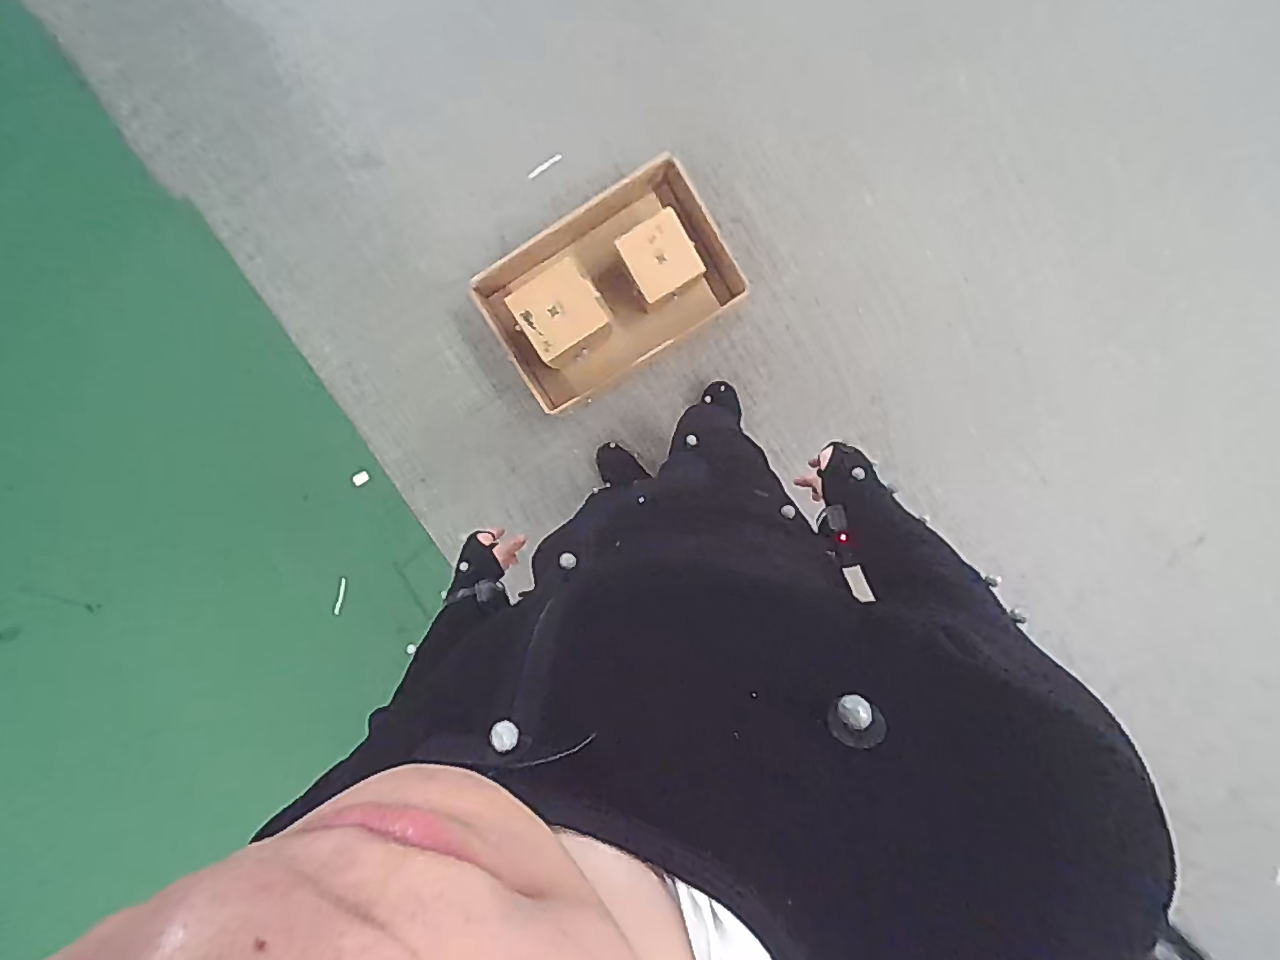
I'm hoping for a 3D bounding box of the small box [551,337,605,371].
[{"bbox_3d":[-0.202,-0.400,1.419,0.168,0.176,0.179,-32,96,2],"label":"small box"}]

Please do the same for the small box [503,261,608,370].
[{"bbox_3d":[-0.189,-0.373,1.257,0.179,0.176,0.168,-32,96,2],"label":"small box"}]

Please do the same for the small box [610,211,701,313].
[{"bbox_3d":[0.039,-0.552,1.401,0.168,0.176,0.179,-31,97,3],"label":"small box"}]
